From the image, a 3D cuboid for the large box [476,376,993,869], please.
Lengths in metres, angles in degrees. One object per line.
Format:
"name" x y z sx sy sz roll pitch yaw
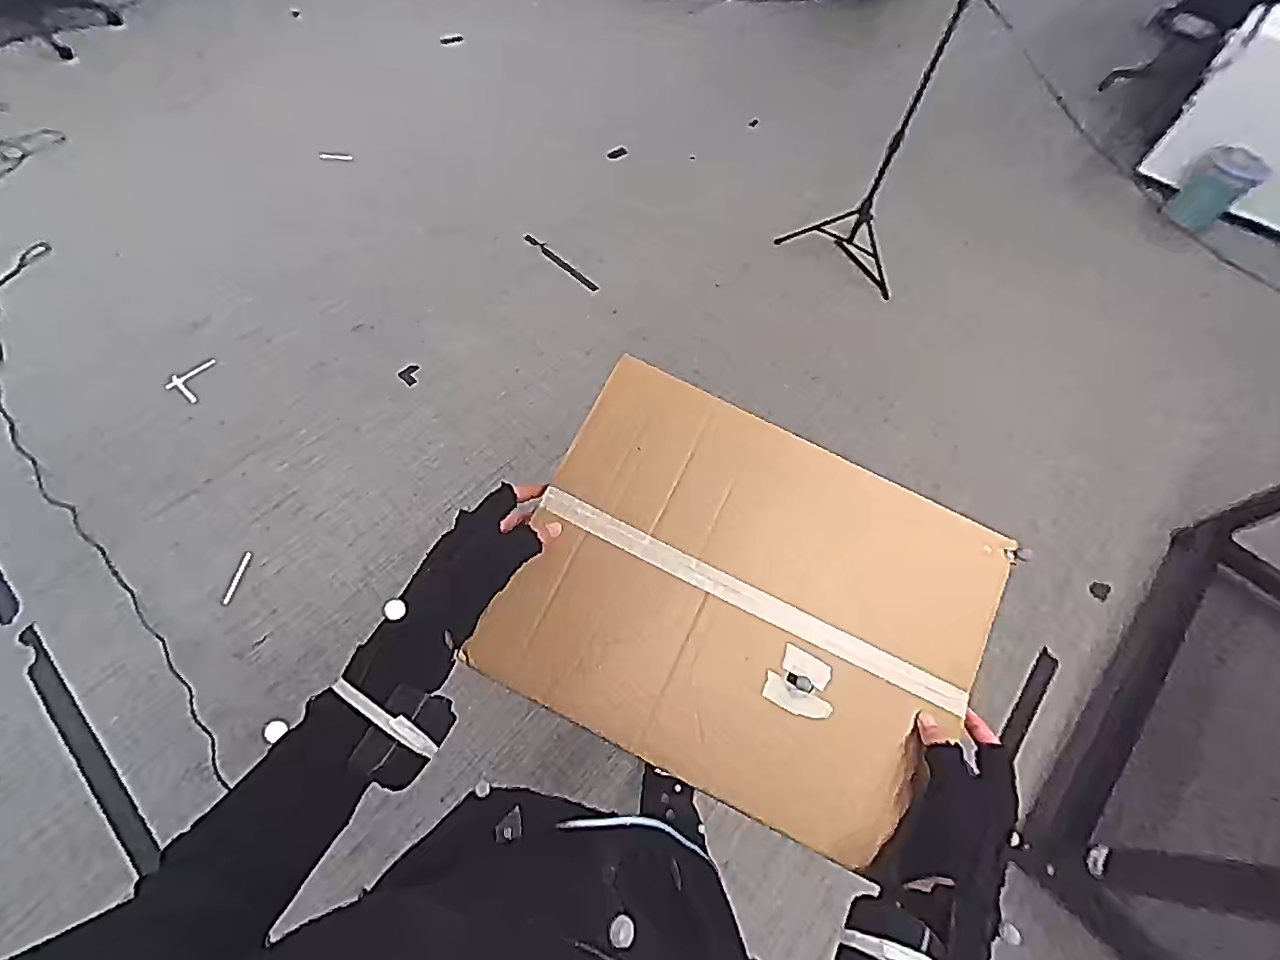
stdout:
"large box" 0.088 0.143 0.637 0.408 0.320 0.320 26 78 3
